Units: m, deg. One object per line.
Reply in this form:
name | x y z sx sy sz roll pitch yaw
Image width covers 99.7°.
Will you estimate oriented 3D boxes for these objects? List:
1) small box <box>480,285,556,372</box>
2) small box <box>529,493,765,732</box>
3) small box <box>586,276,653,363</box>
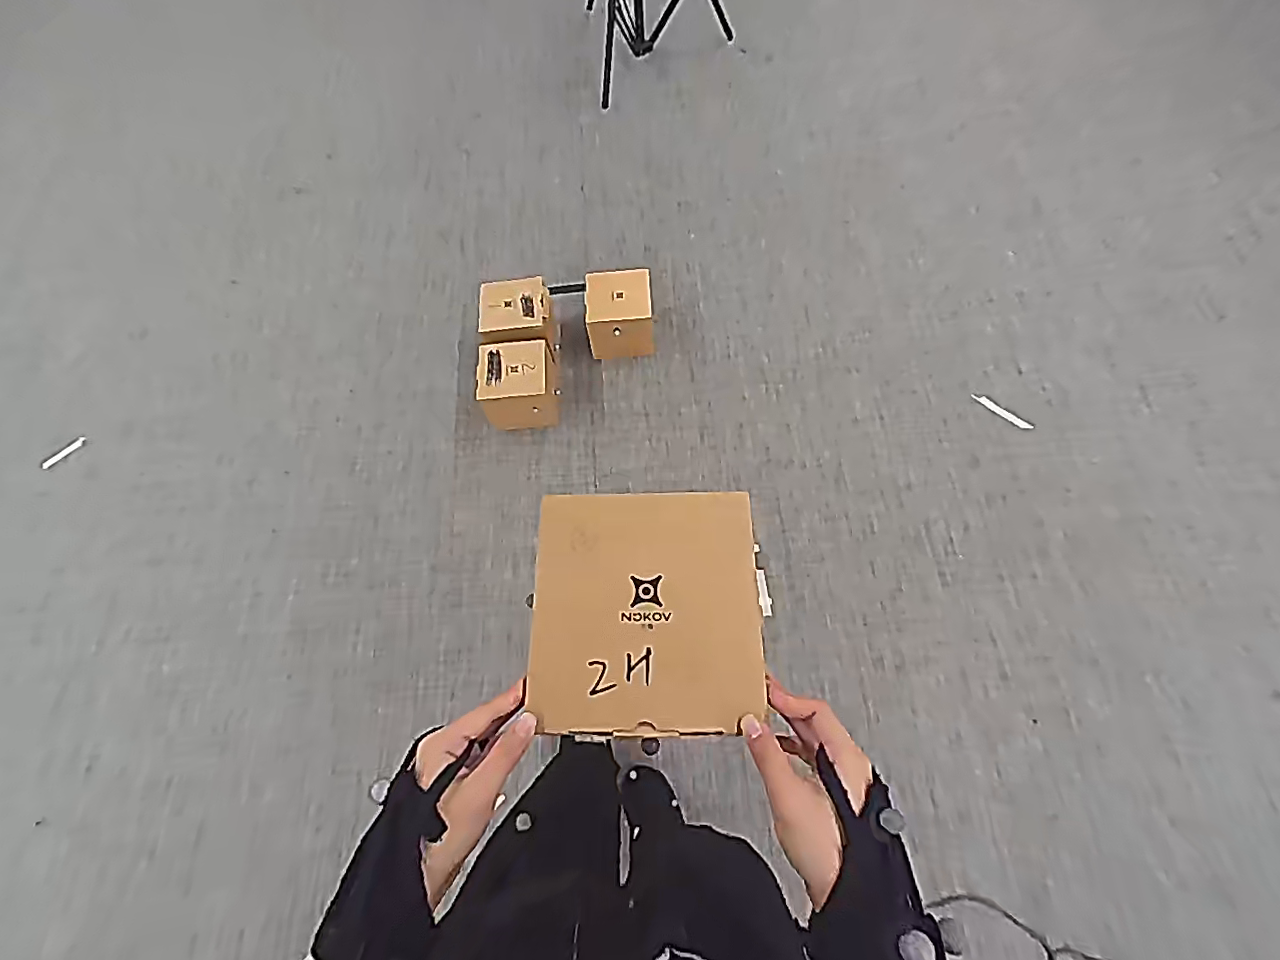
small box | -0.337 -0.423 1.529 0.179 0.176 0.168 -5 68 3
small box | 0.009 0.123 0.476 0.168 0.176 0.179 -1 66 3
small box | -0.054 -0.446 1.520 0.179 0.176 0.168 -4 68 3
